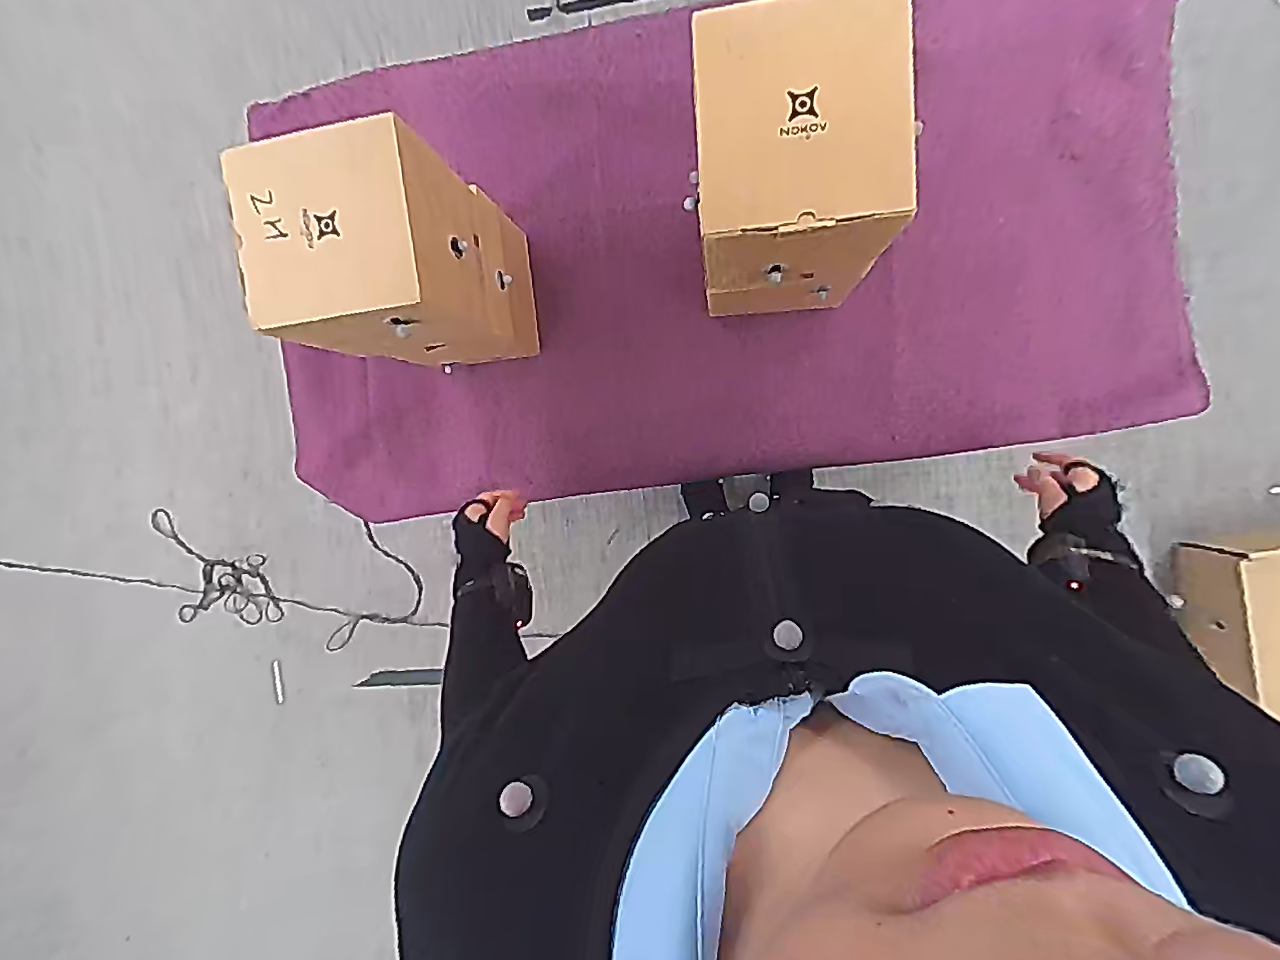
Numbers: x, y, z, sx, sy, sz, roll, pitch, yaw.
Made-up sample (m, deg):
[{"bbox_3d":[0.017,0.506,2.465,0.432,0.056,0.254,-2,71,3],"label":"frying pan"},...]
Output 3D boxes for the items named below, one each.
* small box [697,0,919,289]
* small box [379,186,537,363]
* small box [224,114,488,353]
[{"bbox_3d":[0.139,-0.294,0.499,0.168,0.176,0.179,-3,94,9],"label":"small box"},{"bbox_3d":[-0.247,-0.257,0.724,0.168,0.176,0.179,-6,93,8],"label":"small box"},{"bbox_3d":[-0.273,-0.235,0.563,0.179,0.176,0.168,-6,93,9],"label":"small box"}]
